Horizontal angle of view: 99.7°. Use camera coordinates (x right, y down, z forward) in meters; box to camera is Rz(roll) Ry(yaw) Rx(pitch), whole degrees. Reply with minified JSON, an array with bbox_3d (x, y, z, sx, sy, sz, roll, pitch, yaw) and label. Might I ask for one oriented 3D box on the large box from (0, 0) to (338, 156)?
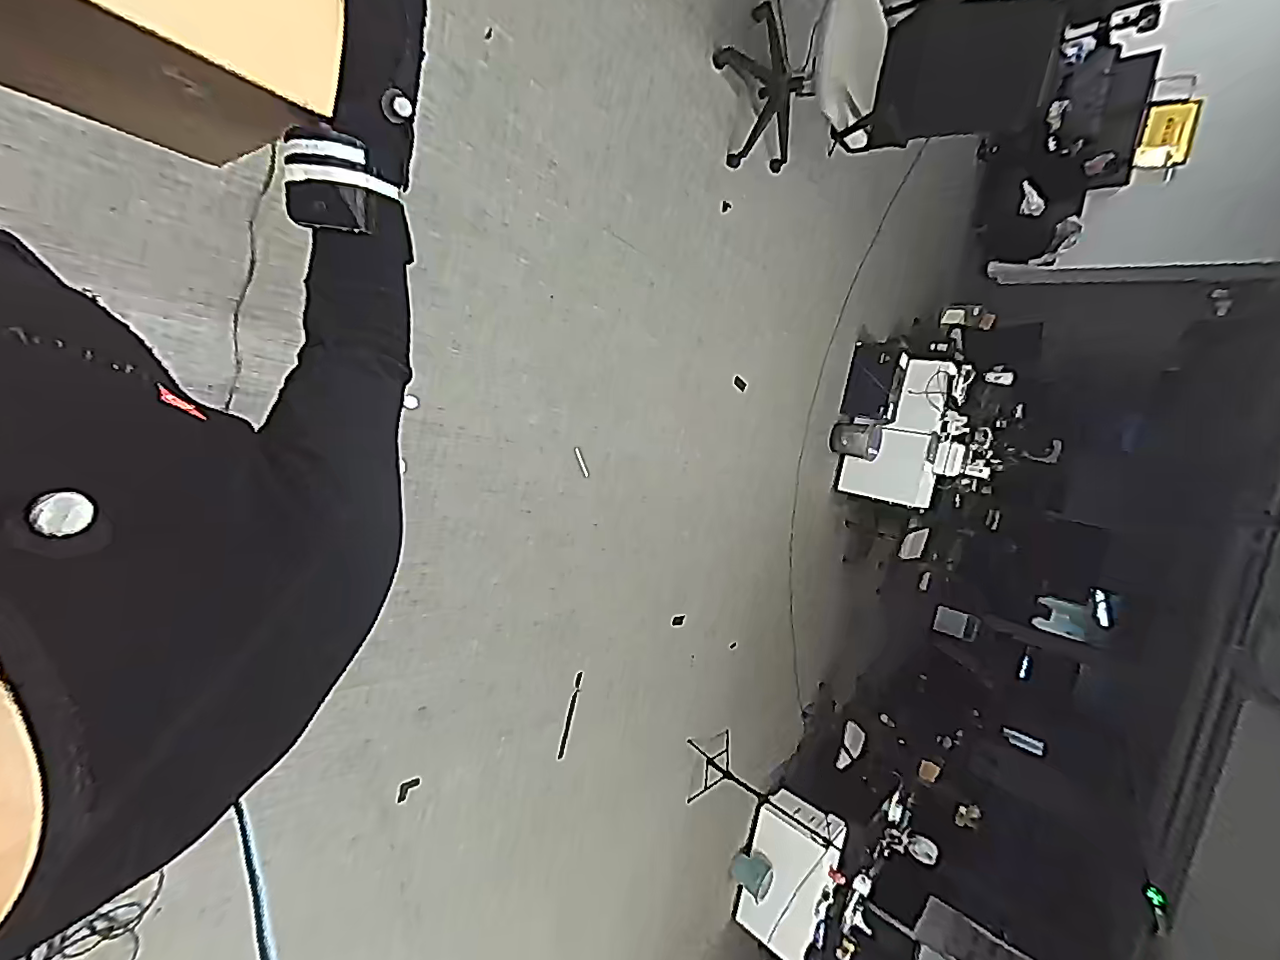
[{"bbox_3d":[-0.433,-0.451,0.304,0.408,0.320,0.320,2,103,-51],"label":"large box"}]
